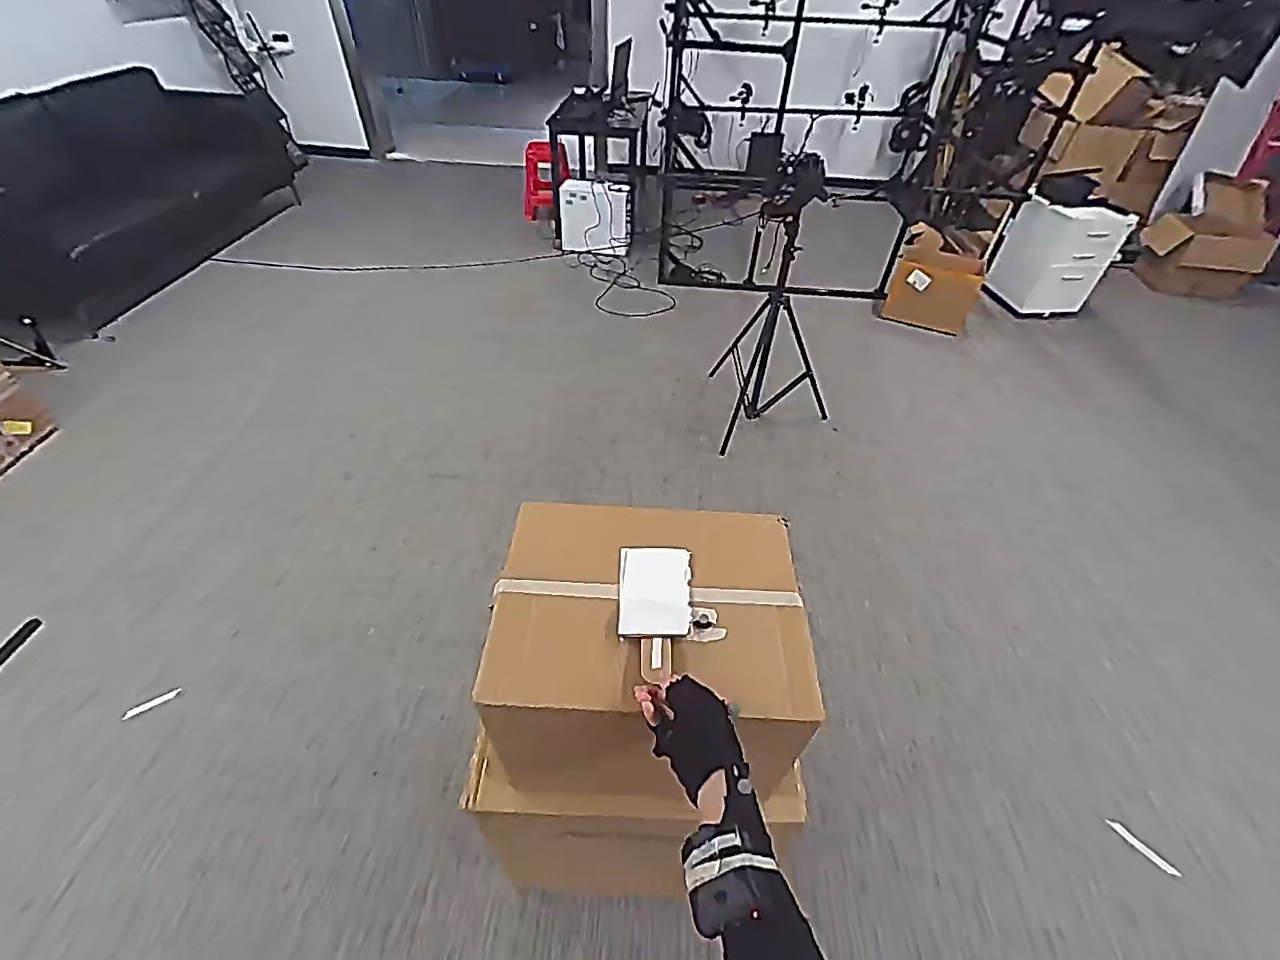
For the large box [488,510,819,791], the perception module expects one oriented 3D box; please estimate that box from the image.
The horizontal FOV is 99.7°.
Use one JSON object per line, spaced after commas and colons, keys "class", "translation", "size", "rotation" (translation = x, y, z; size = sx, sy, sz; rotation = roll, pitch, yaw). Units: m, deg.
{"class": "large box", "translation": [0.011, 0.268, 0.845], "size": [0.408, 0.320, 0.320], "rotation": [3, 45, -1]}
